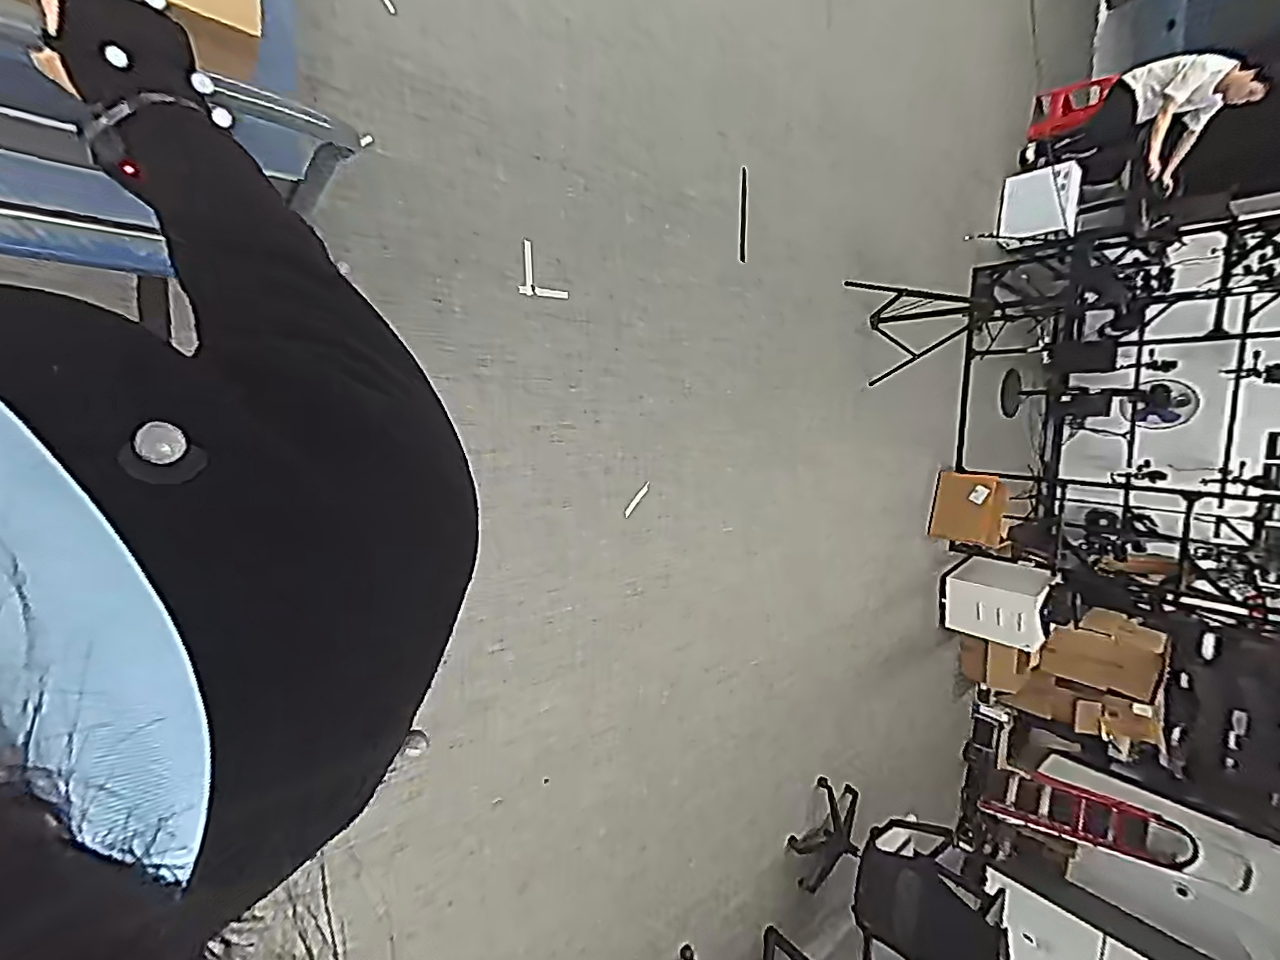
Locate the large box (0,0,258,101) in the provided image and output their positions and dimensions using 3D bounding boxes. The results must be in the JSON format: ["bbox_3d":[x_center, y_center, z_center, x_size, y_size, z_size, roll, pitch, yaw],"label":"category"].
[{"bbox_3d":[-0.802,-0.830,0.767,0.408,0.320,0.320,-2,98,-39],"label":"large box"}]
